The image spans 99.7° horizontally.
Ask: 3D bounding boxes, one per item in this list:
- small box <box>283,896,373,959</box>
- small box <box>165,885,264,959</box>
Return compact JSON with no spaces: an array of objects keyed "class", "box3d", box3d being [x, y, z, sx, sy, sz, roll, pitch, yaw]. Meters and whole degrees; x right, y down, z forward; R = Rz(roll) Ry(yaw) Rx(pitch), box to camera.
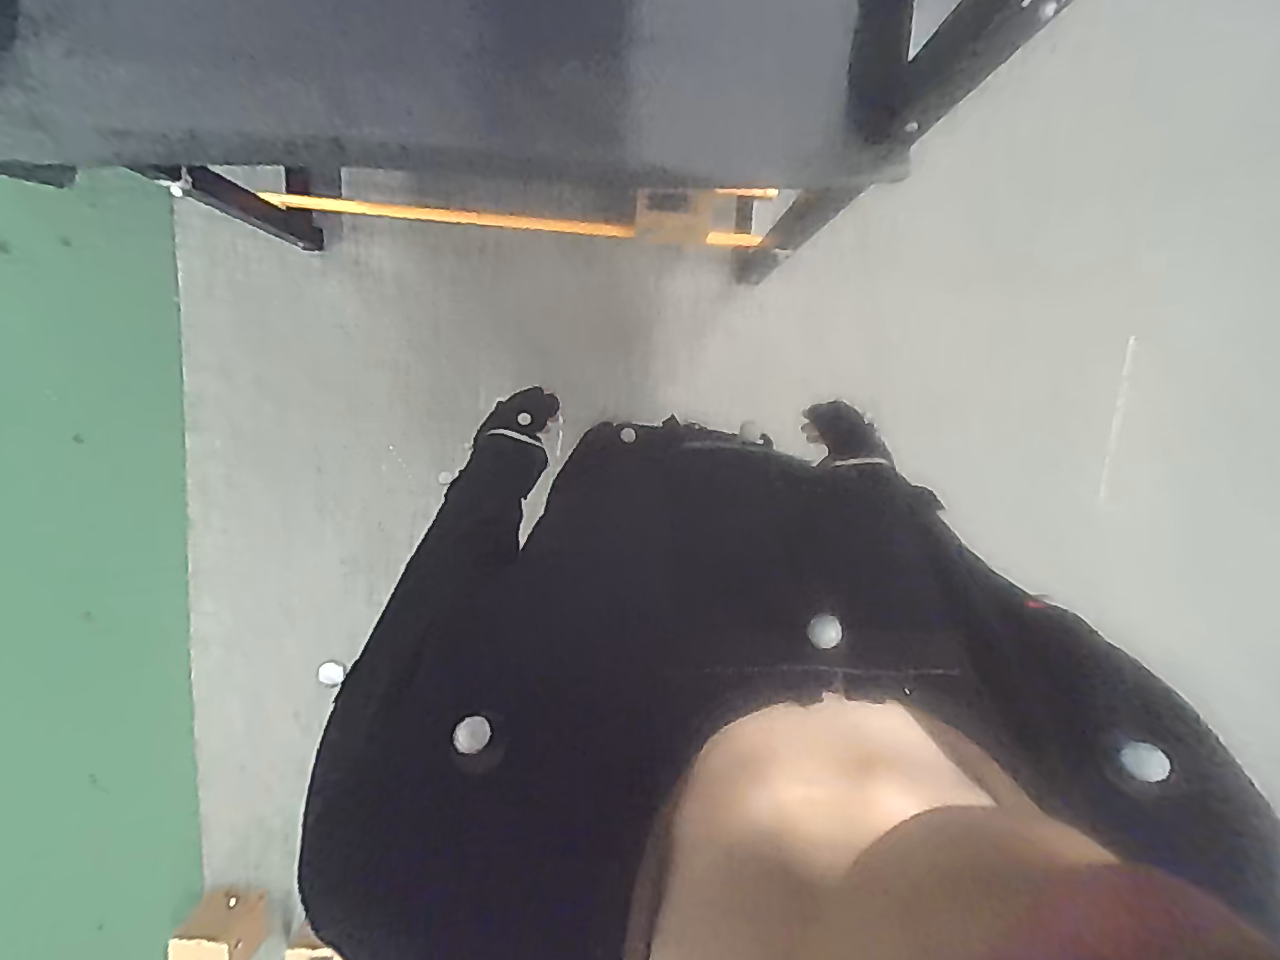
[{"class":"small box","box3d":[-0.901,1.355,1.575,0.168,0.176,0.179,0,99,-1]},{"class":"small box","box3d":[-1.224,1.329,1.566,0.168,0.176,0.179,6,97,-3]}]
